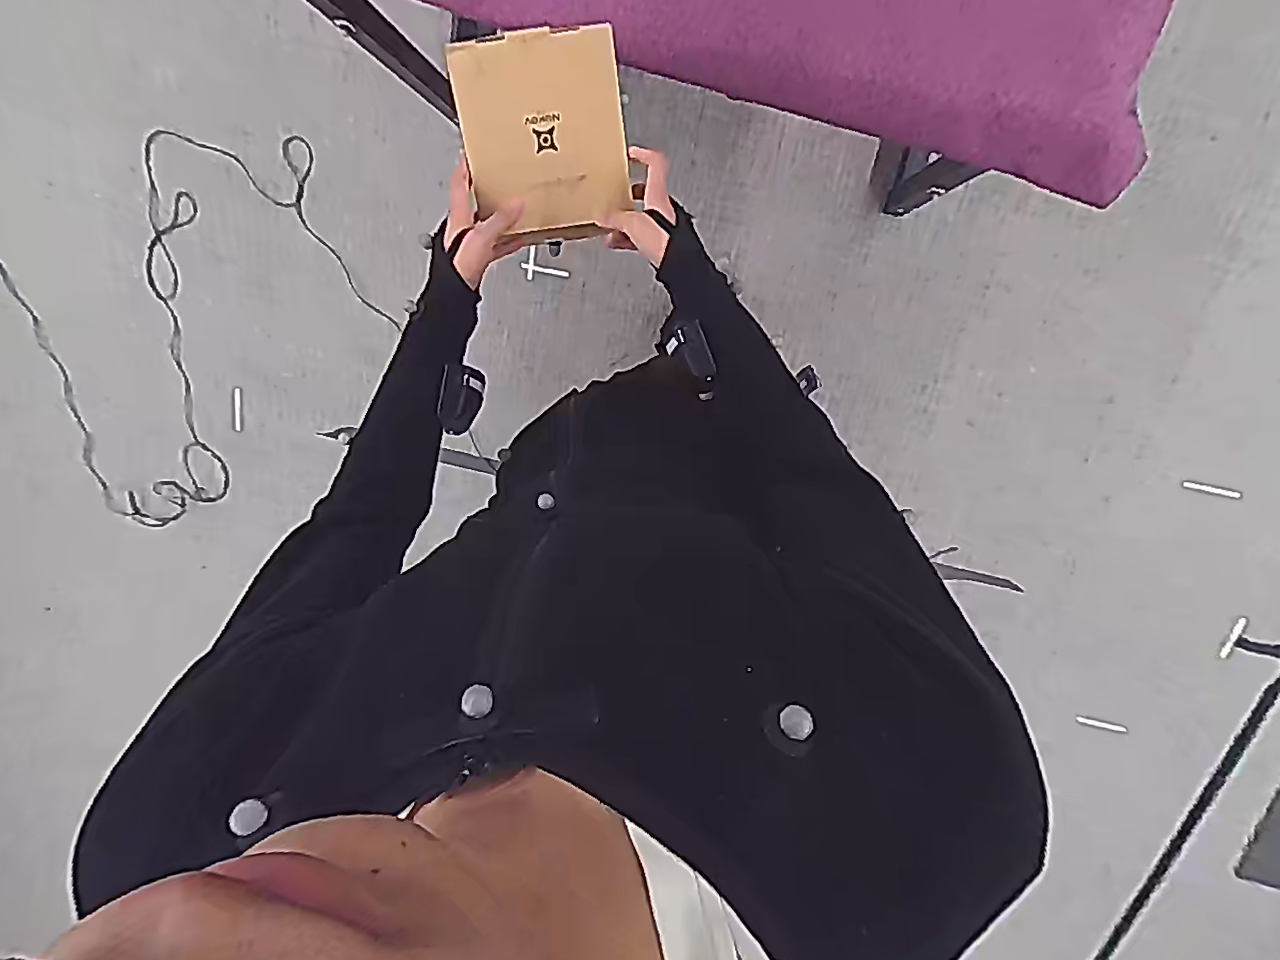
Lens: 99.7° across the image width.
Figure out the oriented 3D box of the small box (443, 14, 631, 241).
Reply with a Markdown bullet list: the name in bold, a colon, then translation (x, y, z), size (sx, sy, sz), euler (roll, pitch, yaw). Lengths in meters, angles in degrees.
- **small box**: translation (-0.107, -0.385, 0.622), size (0.168, 0.176, 0.179), euler (-9, 111, -2)
